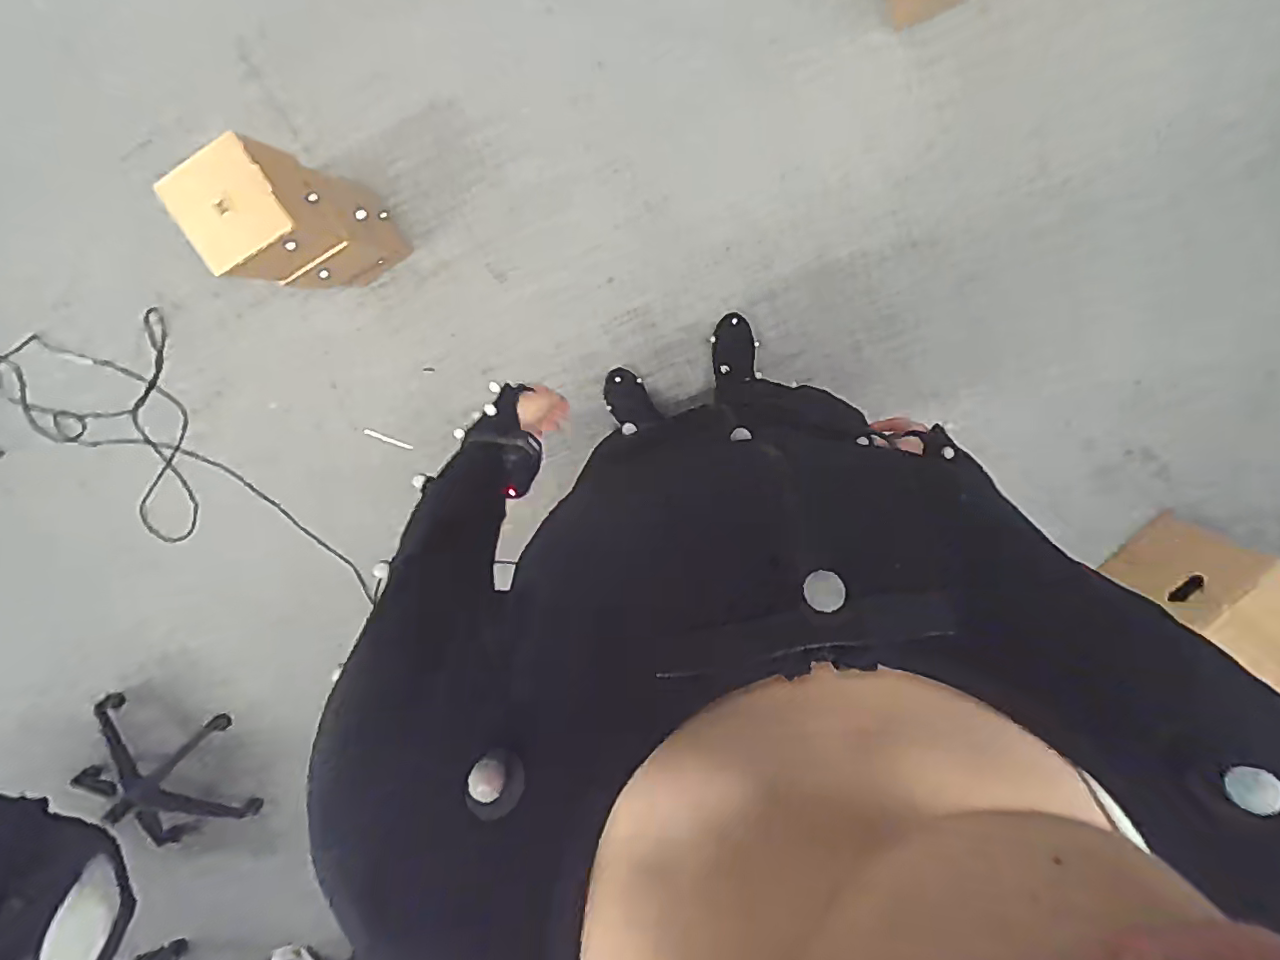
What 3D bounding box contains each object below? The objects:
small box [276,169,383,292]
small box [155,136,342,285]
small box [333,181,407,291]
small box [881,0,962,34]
[{"bbox_3d":[-0.686,-0.511,1.137,0.179,0.176,0.168,-26,104,9],"label":"small box"},{"bbox_3d":[-0.693,-0.471,0.979,0.179,0.176,0.168,-27,103,9],"label":"small box"},{"bbox_3d":[-0.689,-0.572,1.290,0.179,0.176,0.168,-29,103,11],"label":"small box"},{"bbox_3d":[0.588,-1.059,1.082,0.168,0.176,0.179,-21,104,9],"label":"small box"}]
